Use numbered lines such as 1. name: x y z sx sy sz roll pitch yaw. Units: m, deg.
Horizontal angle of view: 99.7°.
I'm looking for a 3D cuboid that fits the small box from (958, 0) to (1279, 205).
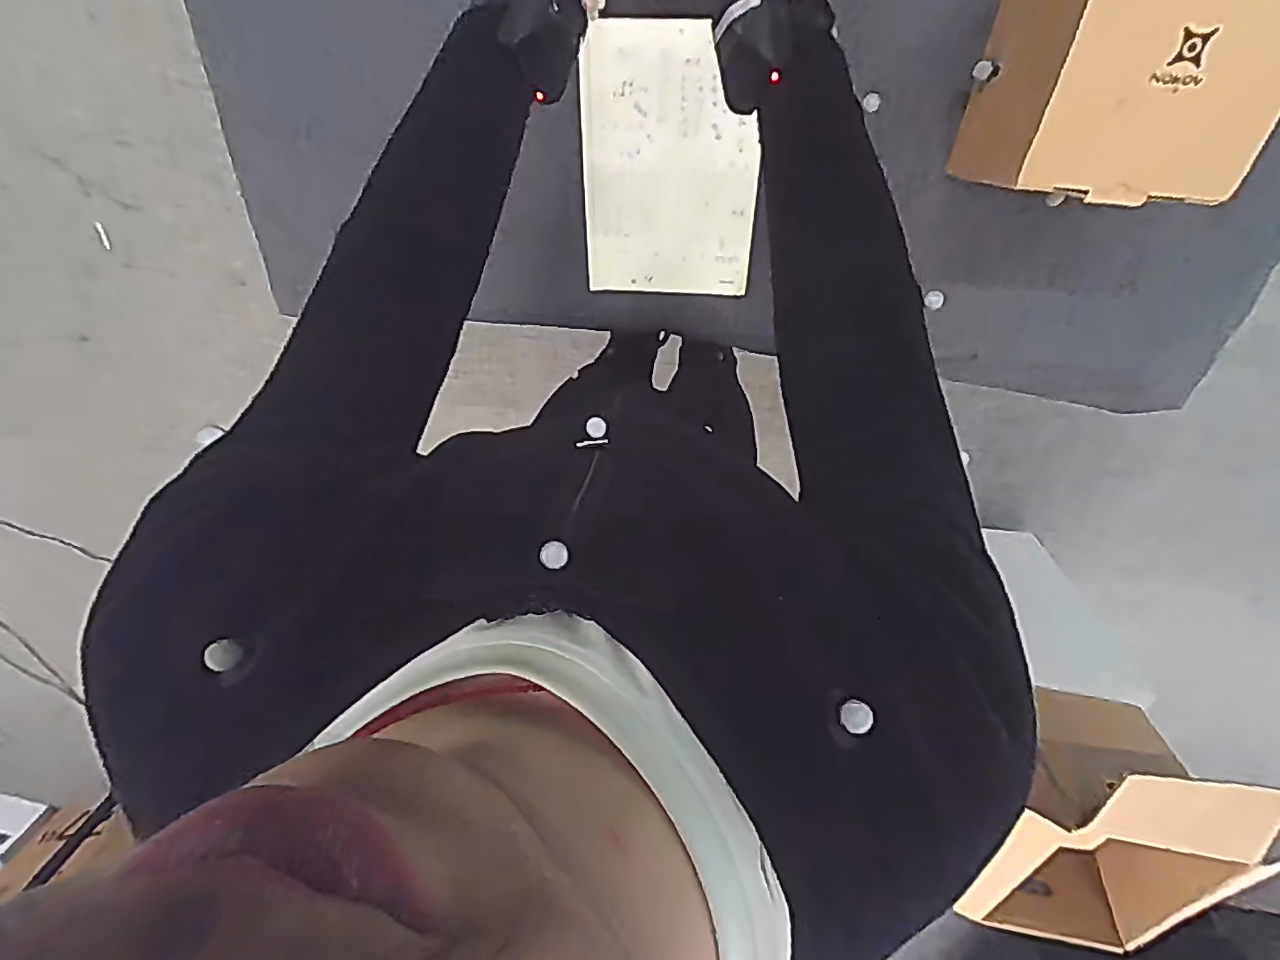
1. small box: 0.405 -0.352 0.463 0.168 0.176 0.179 7 126 4
